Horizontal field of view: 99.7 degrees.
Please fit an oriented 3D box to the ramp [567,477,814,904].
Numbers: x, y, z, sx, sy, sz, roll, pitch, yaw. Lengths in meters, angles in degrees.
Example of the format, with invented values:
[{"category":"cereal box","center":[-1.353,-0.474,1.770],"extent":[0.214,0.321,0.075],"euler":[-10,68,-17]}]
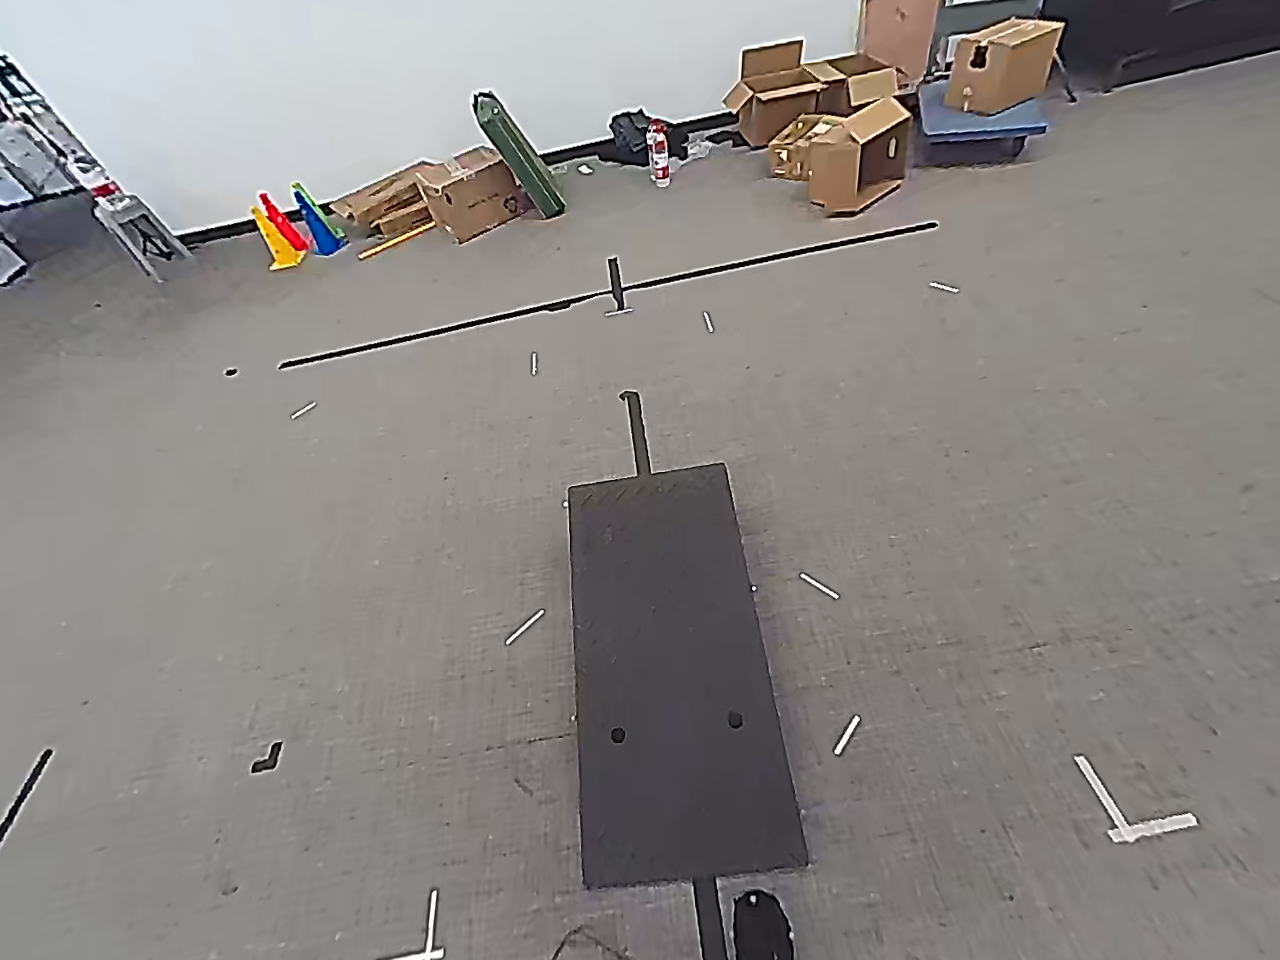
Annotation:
[{"category":"ramp","center":[0.076,0.454,1.412],"extent":[0.509,0.206,0.991],"euler":[-11,48,2]}]
